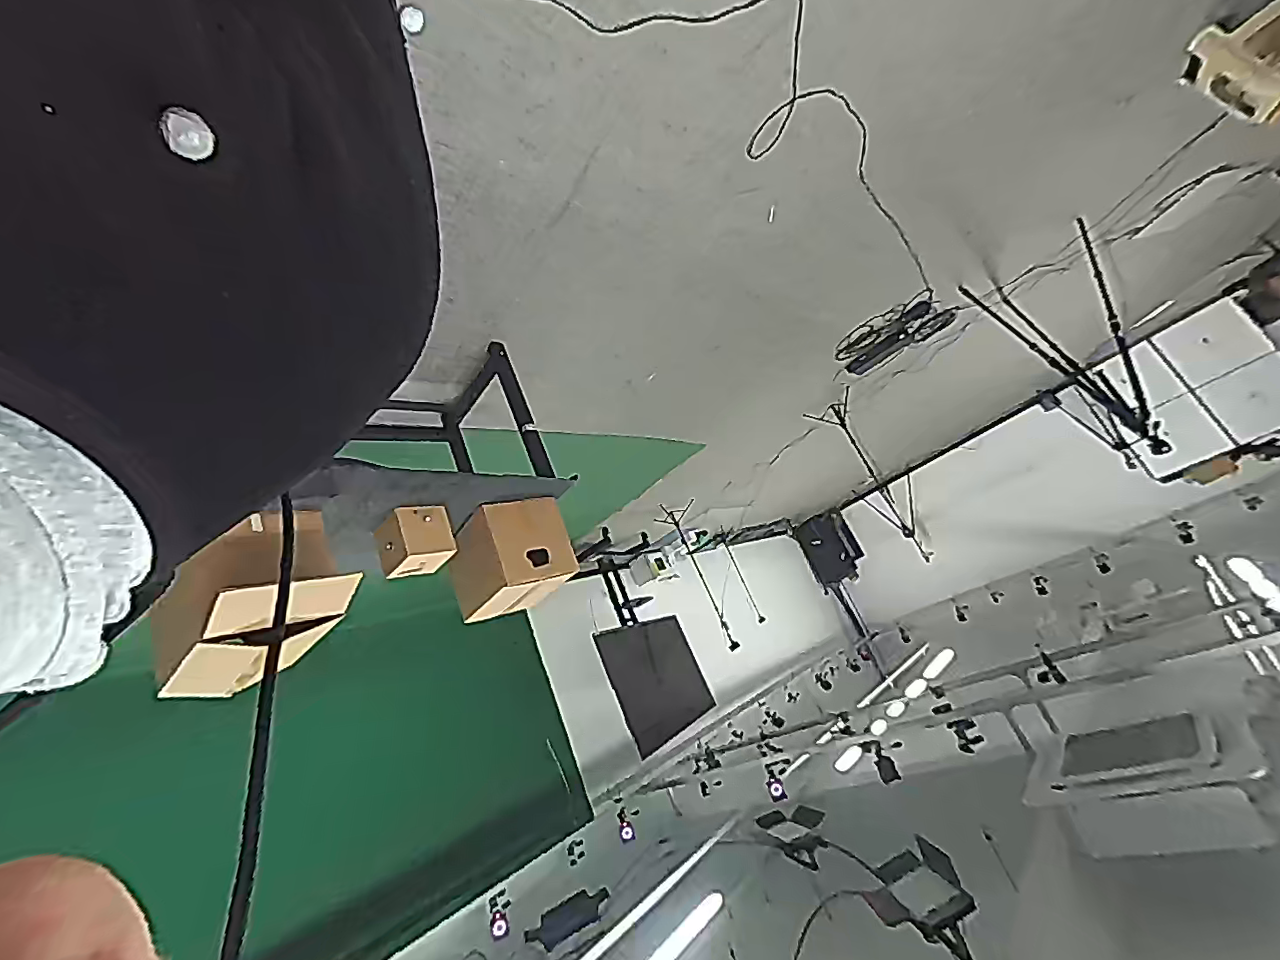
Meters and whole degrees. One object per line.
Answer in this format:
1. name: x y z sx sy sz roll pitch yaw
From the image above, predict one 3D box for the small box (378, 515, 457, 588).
1. small box: -0.726 0.228 1.748 0.179 0.176 0.168 -38 158 34
